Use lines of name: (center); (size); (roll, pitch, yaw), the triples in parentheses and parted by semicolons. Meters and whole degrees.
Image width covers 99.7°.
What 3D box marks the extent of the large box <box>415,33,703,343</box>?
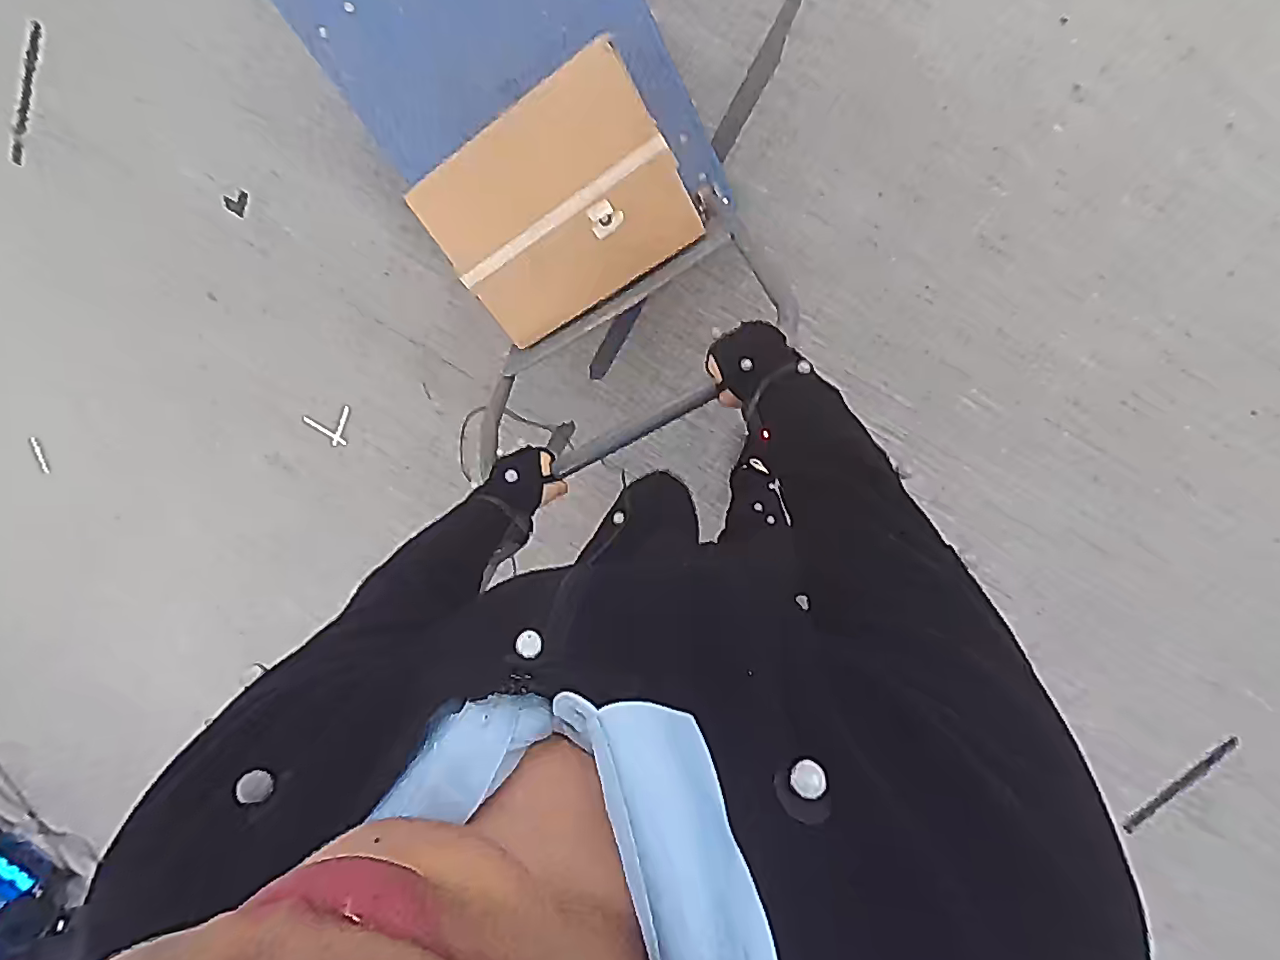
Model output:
large box: (-0.138, -0.538, 1.041); (0.408, 0.320, 0.320); (-28, 120, 16)
